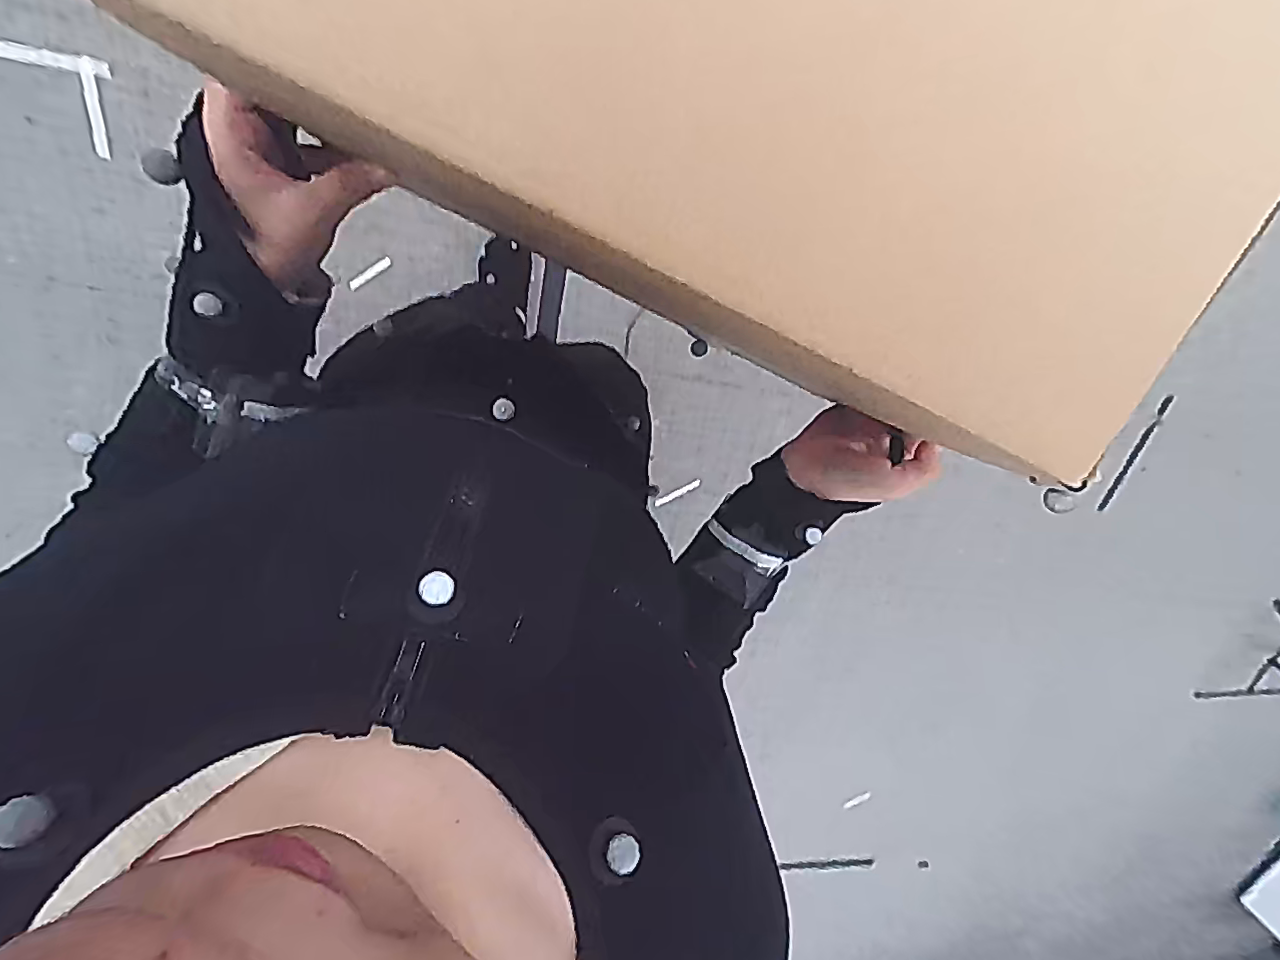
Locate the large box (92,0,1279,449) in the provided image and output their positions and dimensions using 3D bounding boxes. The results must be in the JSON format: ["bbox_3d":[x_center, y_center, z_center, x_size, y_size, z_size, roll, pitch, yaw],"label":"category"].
[{"bbox_3d":[0.046,-0.262,0.287,0.408,0.320,0.320,21,106,-12],"label":"large box"}]
